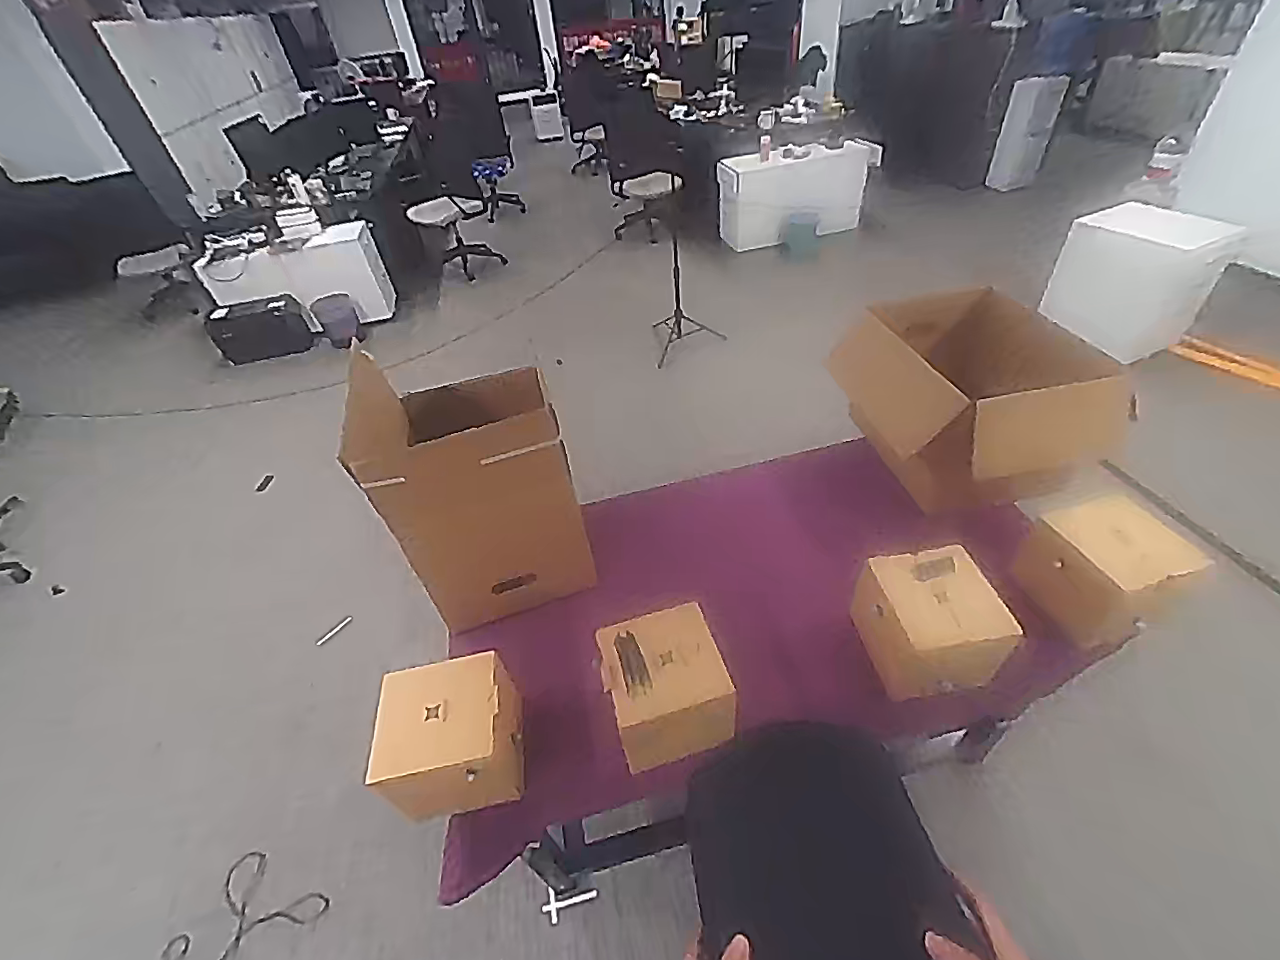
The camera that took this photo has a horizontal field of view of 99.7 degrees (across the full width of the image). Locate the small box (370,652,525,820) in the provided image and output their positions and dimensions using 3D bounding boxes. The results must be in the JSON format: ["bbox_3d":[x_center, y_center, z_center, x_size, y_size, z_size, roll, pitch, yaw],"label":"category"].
[{"bbox_3d":[-0.287,0.401,0.843,0.179,0.176,0.168,-11,42,-5],"label":"small box"}]

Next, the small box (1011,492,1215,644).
[{"bbox_3d":[0.798,0.153,0.940,0.168,0.176,0.179,-15,43,-5],"label":"small box"}]

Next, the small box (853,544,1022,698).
[{"bbox_3d":[0.477,0.235,0.904,0.168,0.176,0.179,-9,44,-1],"label":"small box"}]
